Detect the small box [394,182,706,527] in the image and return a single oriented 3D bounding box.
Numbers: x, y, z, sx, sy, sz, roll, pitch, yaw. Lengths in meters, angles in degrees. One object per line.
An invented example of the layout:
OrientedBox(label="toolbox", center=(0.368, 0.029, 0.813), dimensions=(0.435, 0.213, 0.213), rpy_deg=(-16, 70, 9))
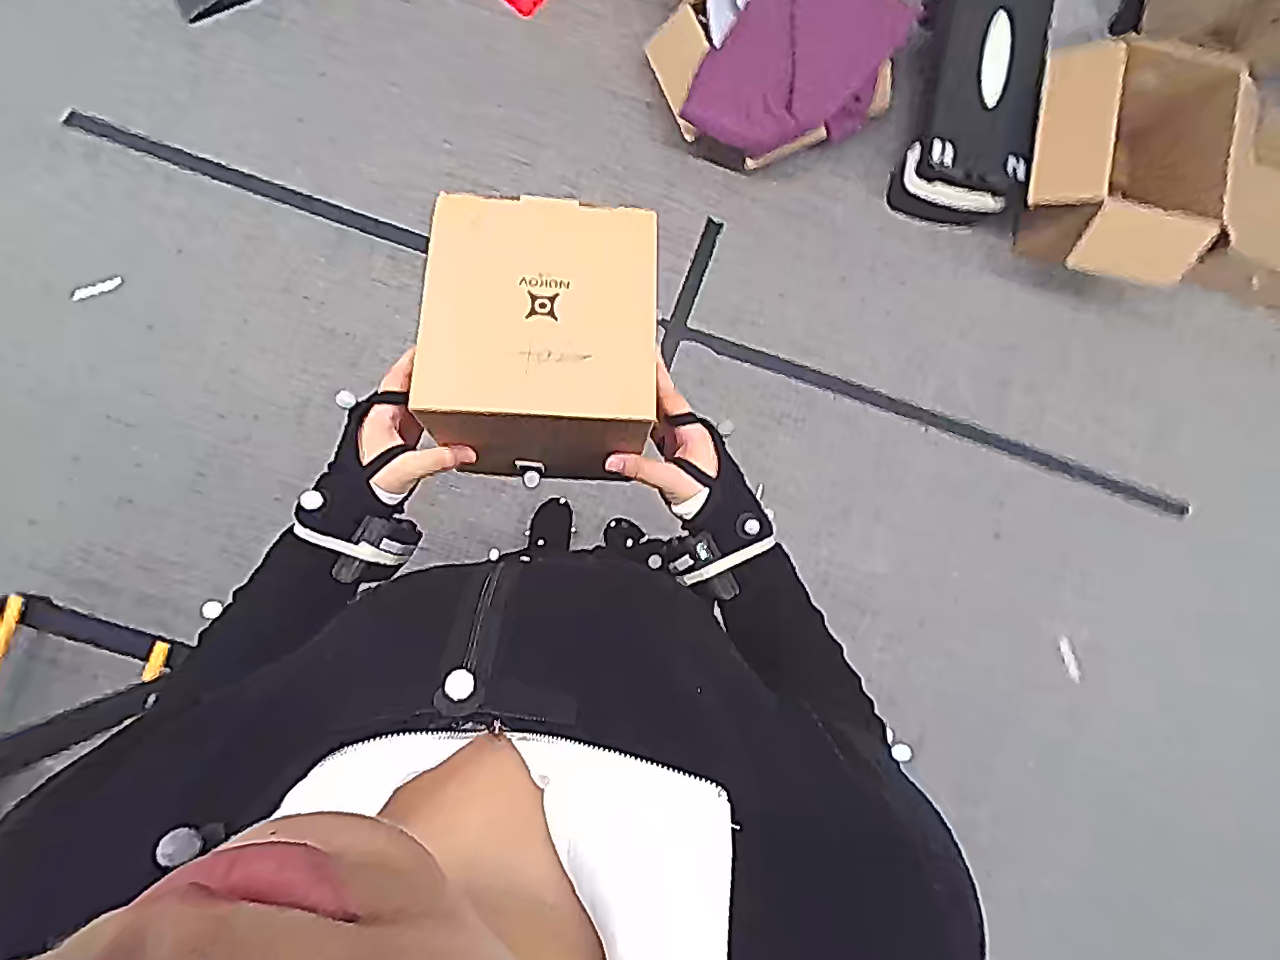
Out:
OrientedBox(label="small box", center=(-0.054, -0.070, 0.383), dimensions=(0.168, 0.176, 0.179), rpy_deg=(1, 75, -6))
